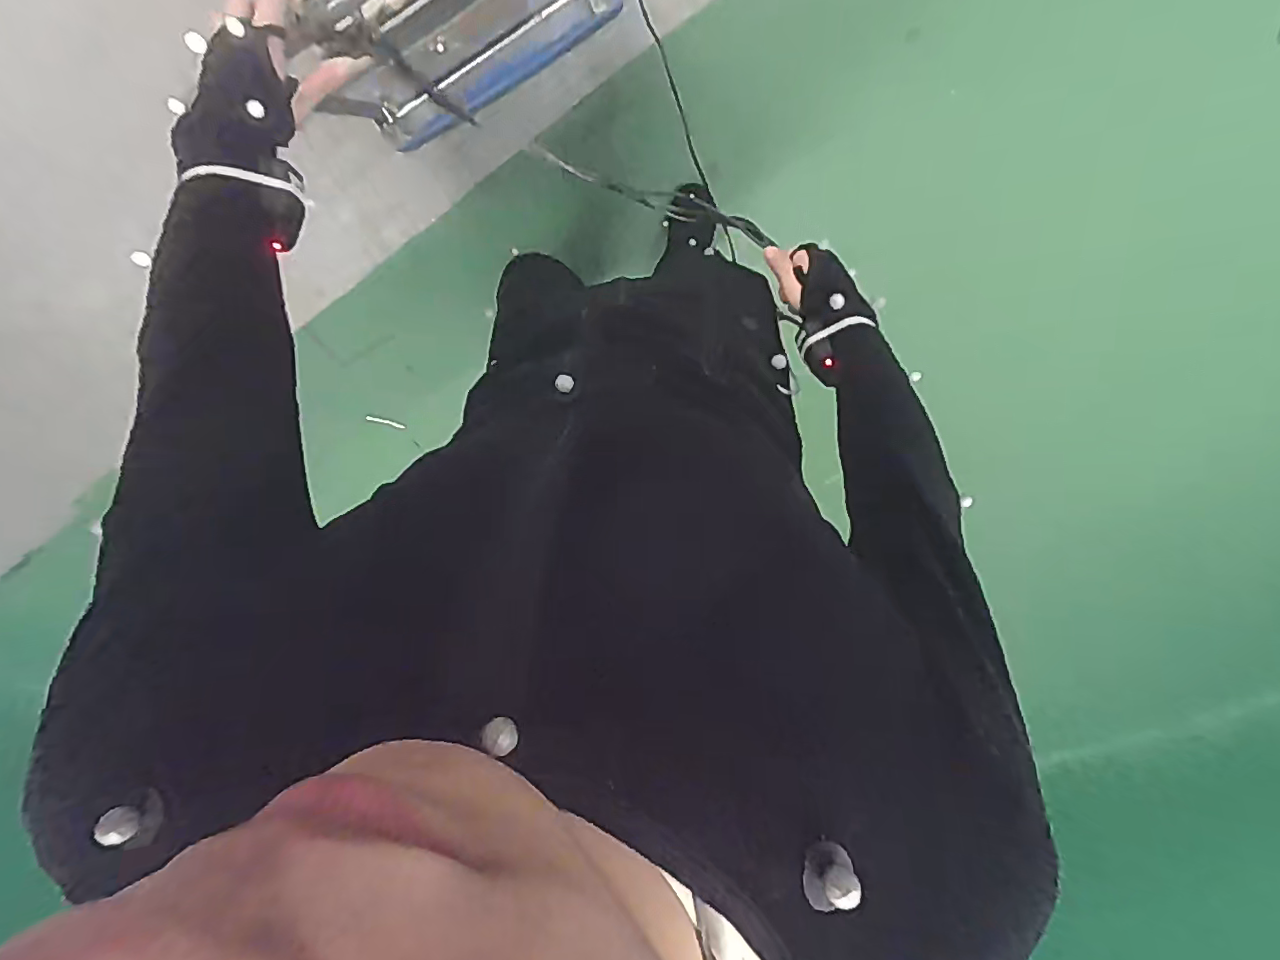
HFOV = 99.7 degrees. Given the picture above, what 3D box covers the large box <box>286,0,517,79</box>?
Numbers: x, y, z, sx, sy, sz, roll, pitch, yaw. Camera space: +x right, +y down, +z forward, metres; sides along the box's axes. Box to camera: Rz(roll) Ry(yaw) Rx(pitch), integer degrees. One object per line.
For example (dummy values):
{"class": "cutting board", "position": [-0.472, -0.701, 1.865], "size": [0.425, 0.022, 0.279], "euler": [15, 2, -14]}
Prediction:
{"class": "large box", "position": [-0.446, -0.955, 0.860], "size": [0.320, 0.320, 0.408], "euler": [-21, 116, 13]}
